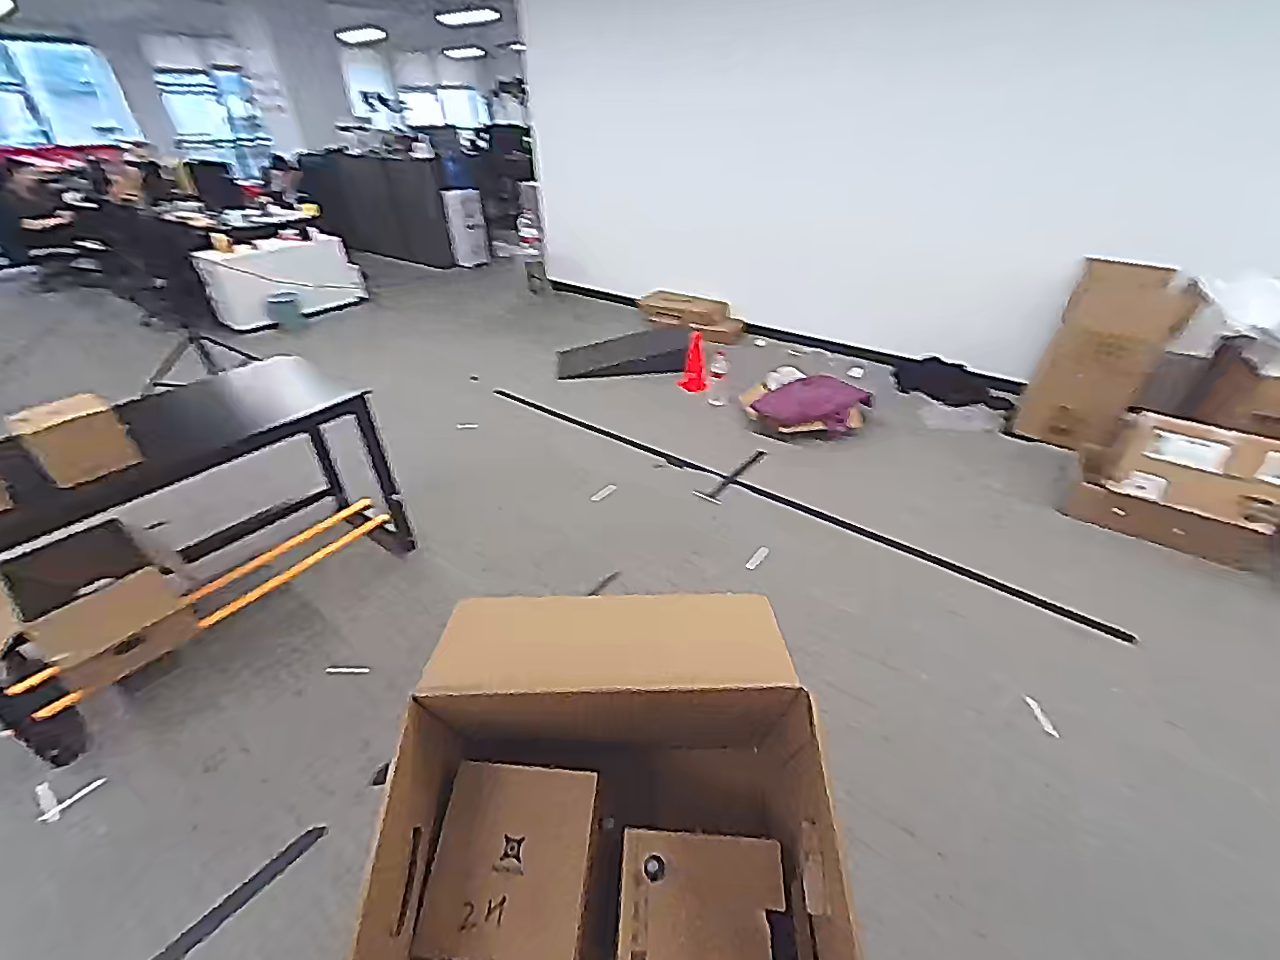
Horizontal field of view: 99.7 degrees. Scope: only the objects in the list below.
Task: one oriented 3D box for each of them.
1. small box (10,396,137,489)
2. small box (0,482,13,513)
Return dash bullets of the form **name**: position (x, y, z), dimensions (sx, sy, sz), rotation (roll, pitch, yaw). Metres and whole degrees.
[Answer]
- **small box**: position (-1.511, -0.103, 1.455), dimensions (0.168, 0.176, 0.179), rotation (22, 40, 30)
- **small box**: position (-1.675, 0.016, 1.286), dimensions (0.168, 0.176, 0.179), rotation (24, 41, 30)
